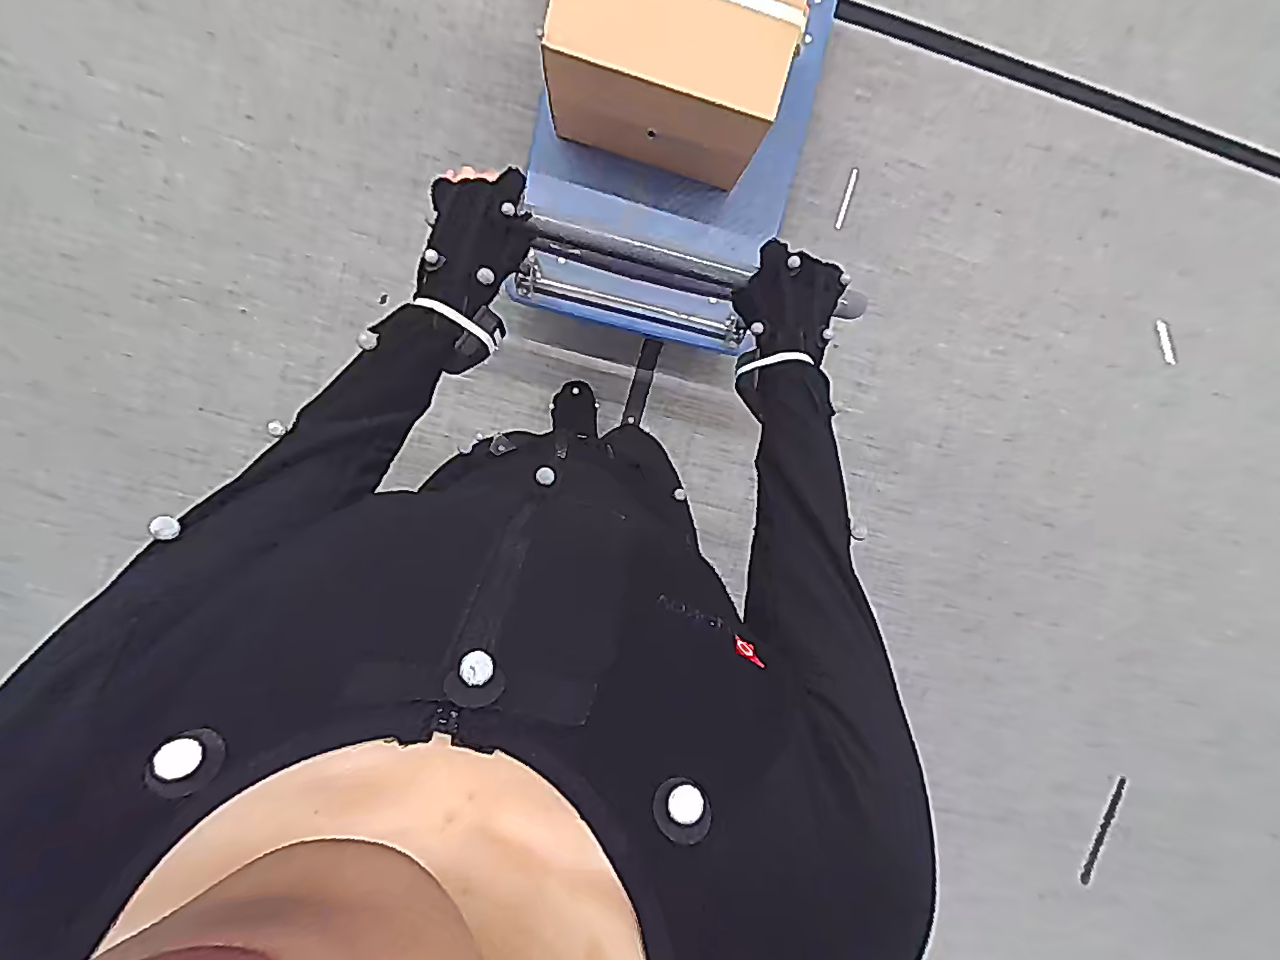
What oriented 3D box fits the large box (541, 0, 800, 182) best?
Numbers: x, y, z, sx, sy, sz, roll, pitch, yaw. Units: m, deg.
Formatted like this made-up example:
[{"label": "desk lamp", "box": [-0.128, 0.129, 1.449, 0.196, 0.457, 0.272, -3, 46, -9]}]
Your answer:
[{"label": "large box", "box": [0.059, -0.829, 1.029, 0.408, 0.320, 0.320, 14, 97, -5]}]
